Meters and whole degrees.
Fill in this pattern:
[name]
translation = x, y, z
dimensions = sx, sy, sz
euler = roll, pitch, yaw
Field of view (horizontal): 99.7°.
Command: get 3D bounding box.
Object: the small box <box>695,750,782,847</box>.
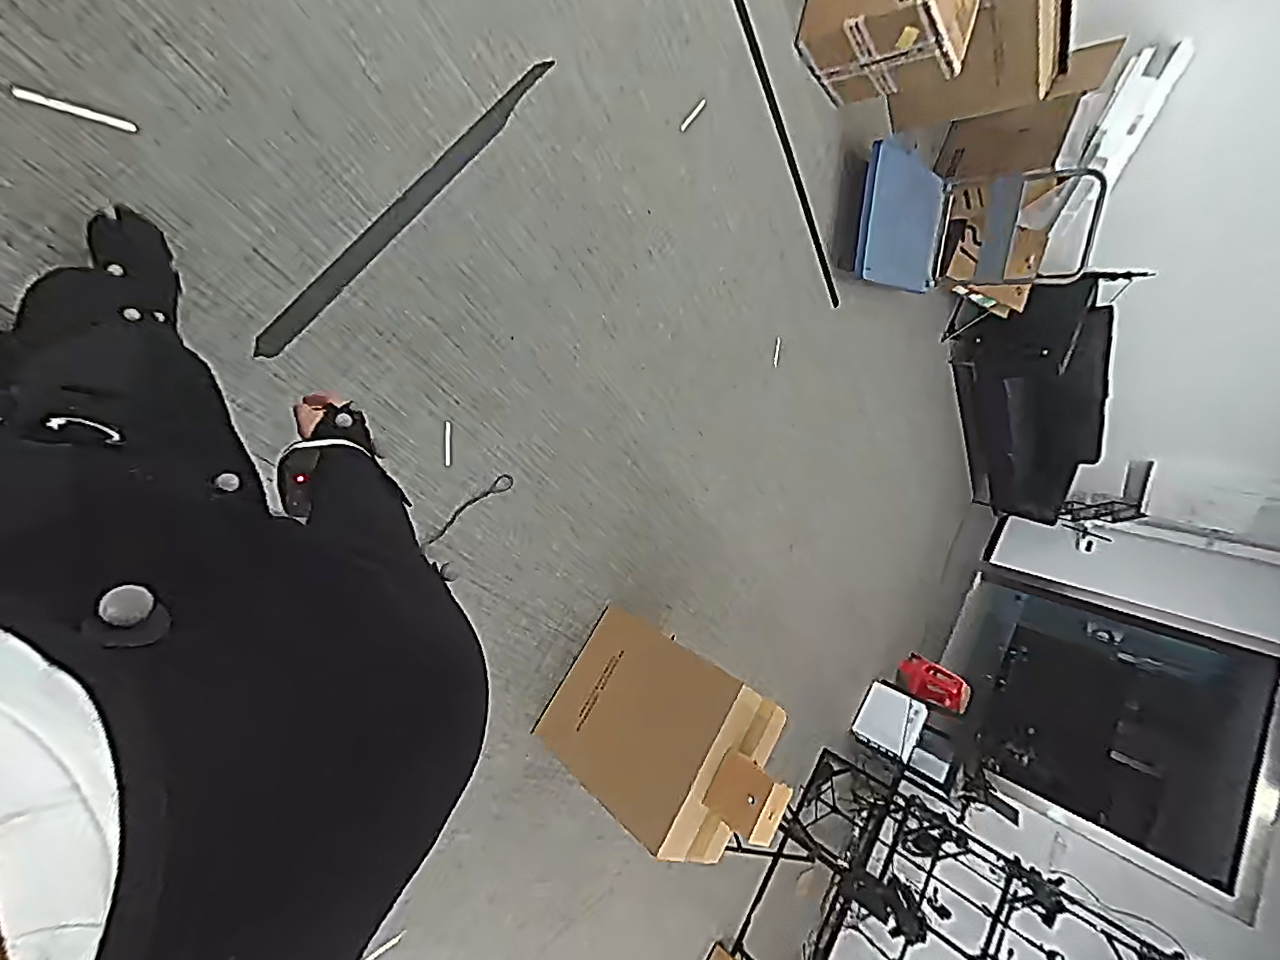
[small box]
translation = 0.285, 0.937, 1.594
dimensions = 0.179, 0.176, 0.168
euler = -59, 135, -16
